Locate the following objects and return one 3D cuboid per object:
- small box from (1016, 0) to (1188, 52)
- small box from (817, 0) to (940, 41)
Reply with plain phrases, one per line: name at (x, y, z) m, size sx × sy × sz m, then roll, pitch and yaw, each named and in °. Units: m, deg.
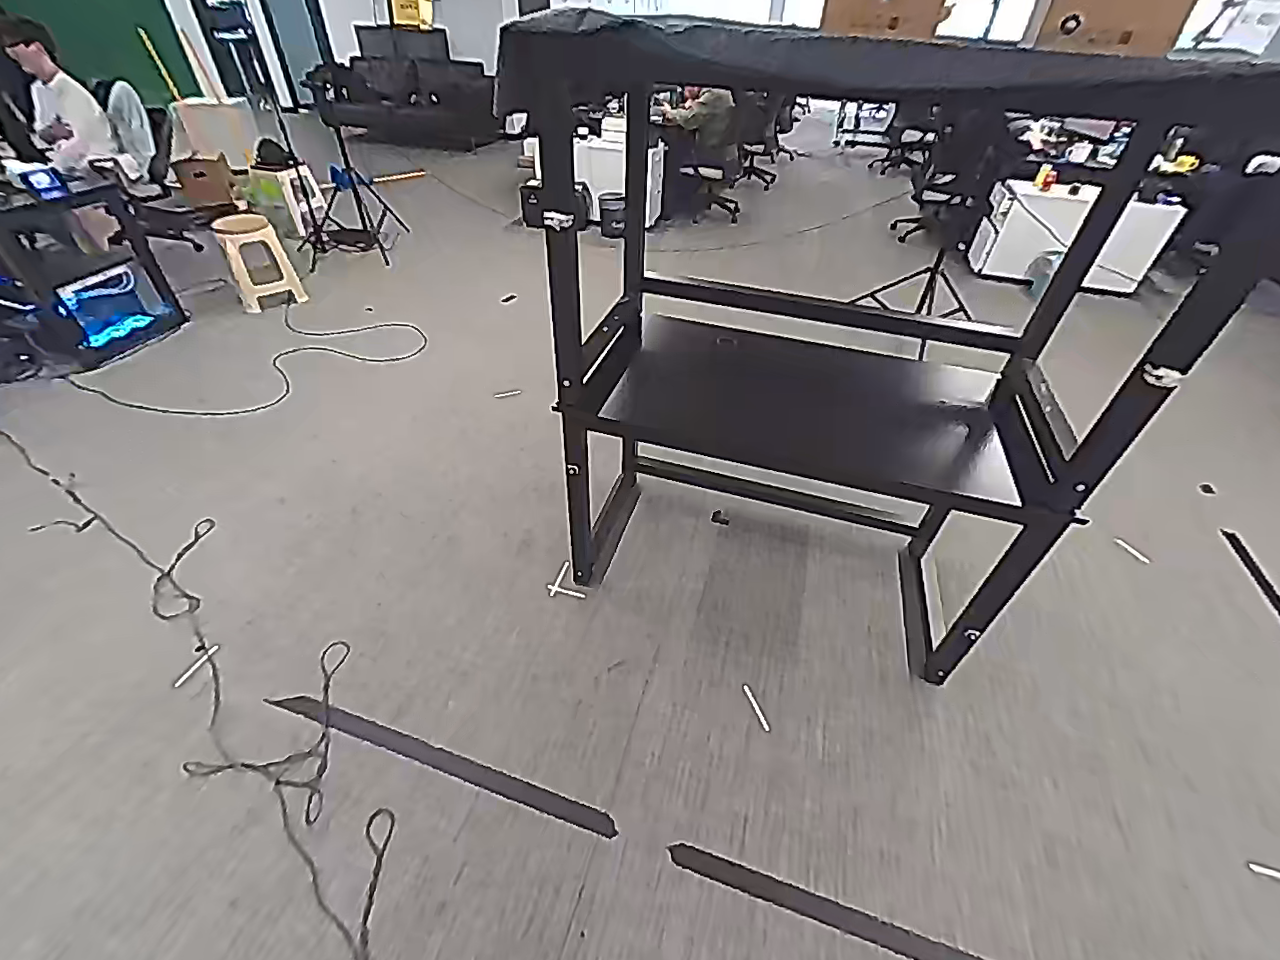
small box at (0.655, -0.702, 0.747) m, size 0.168 × 0.176 × 0.179 m, roll 16°, pitch 41°, yaw 15°
small box at (0.368, -0.767, 0.801) m, size 0.168 × 0.176 × 0.179 m, roll 13°, pitch 40°, yaw 13°
